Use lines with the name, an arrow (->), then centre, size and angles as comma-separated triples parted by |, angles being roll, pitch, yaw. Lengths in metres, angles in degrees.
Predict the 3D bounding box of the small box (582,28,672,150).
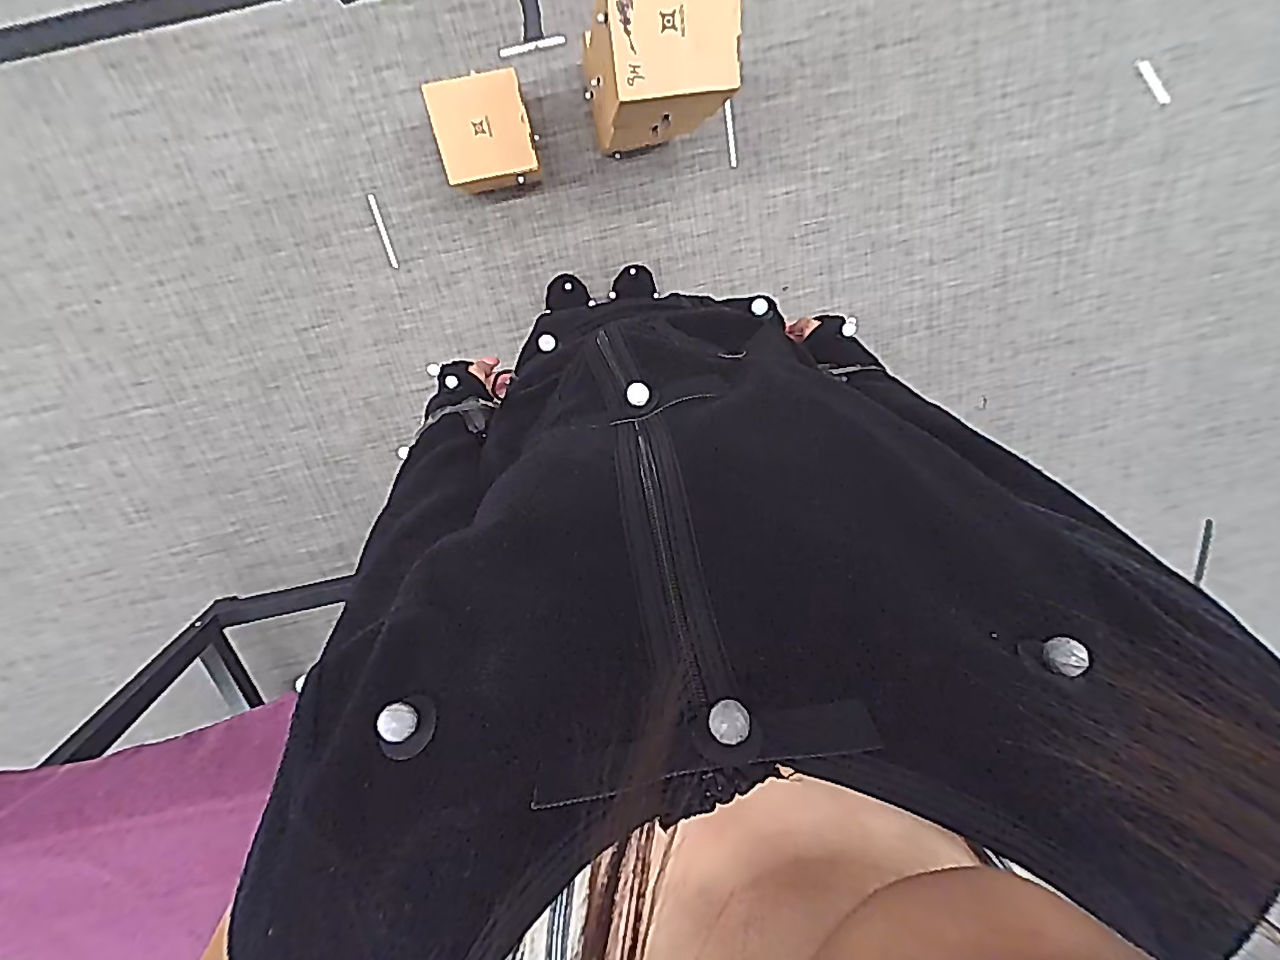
small box -> -0.015, -0.778, 1.077 | 0.168, 0.176, 0.179 | -14, 113, -2

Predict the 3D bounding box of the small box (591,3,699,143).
small box -> 0.014, -0.701, 0.934 | 0.179, 0.176, 0.168 | -12, 114, -4

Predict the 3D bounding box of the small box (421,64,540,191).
small box -> -0.306, -0.688, 1.076 | 0.179, 0.176, 0.168 | -13, 113, -3

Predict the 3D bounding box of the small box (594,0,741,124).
small box -> 0.036, -0.636, 0.785 | 0.179, 0.176, 0.168 | -9, 114, -5
